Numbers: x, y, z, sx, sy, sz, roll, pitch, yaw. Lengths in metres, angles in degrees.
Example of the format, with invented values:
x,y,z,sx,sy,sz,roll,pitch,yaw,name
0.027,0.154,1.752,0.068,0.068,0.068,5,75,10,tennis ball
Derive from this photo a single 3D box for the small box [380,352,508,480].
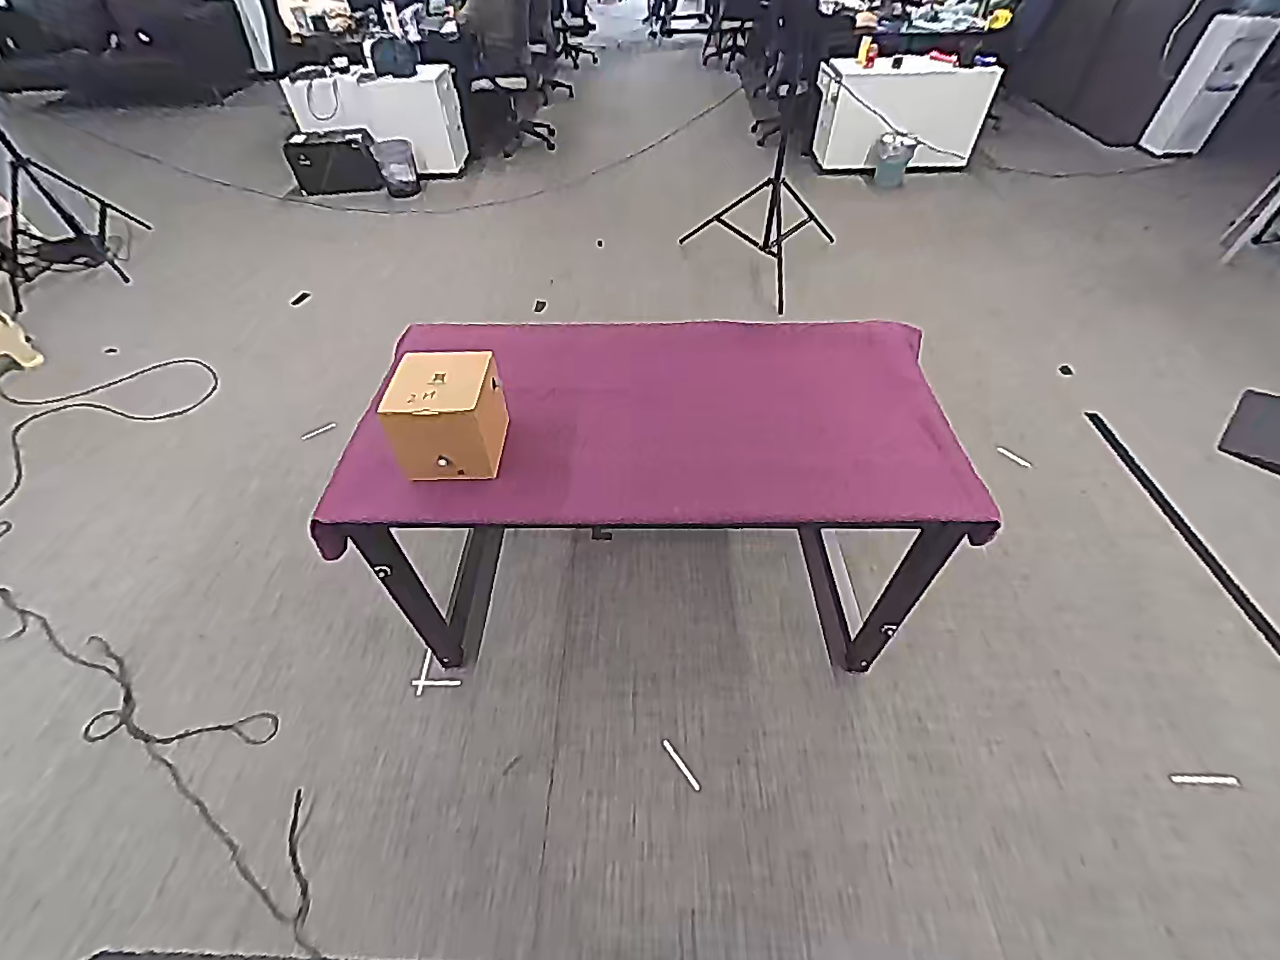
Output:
x,y,z,sx,sy,sz,roll,pitch,yaw,name
-0.352,-0.120,1.012,0.168,0.176,0.179,-1,48,1,small box
